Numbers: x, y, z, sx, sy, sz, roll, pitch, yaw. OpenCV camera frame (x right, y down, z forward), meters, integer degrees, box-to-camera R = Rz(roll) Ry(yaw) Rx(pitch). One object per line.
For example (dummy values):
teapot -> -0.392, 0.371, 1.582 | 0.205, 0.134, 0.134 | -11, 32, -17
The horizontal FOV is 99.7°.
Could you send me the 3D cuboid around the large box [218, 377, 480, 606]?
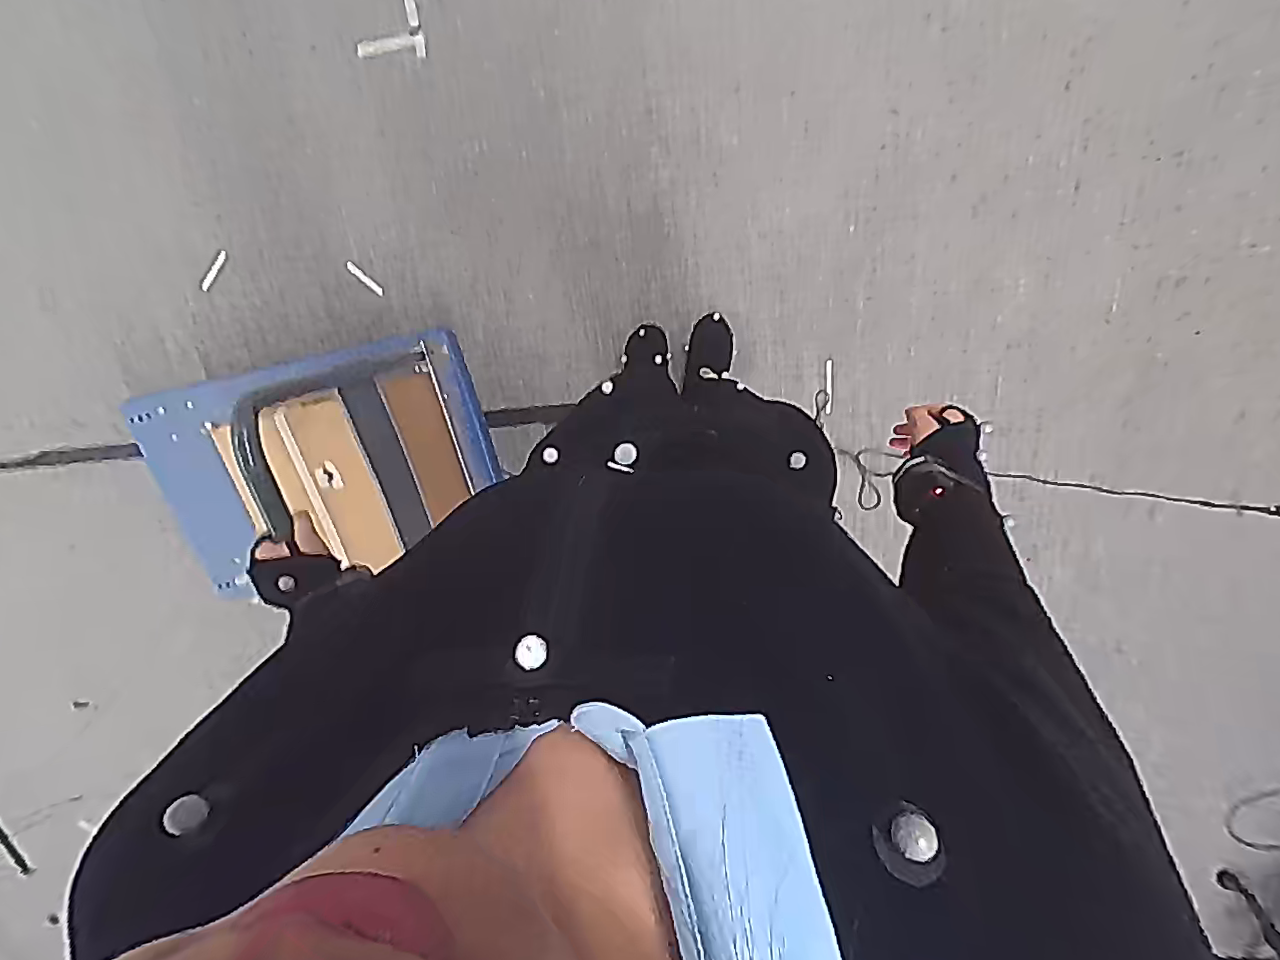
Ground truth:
large box -> -0.608, 0.012, 1.214 | 0.320, 0.320, 0.408 | -11, 108, 7
